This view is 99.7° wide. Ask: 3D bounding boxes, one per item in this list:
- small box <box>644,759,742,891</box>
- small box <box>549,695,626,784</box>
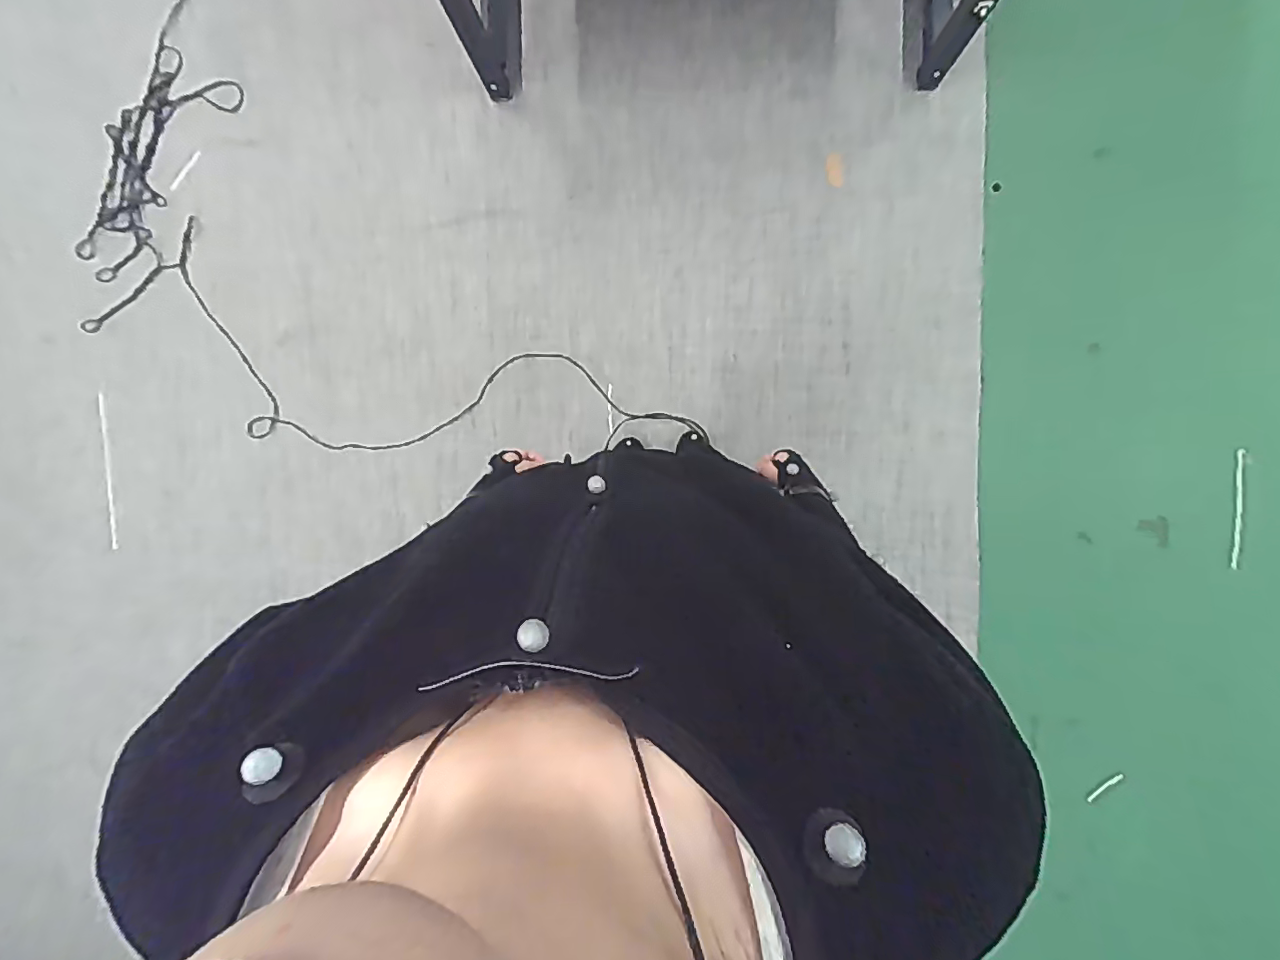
[{"bbox_3d":[0.106,0.684,1.090,0.179,0.176,0.168,-4,90,7],"label":"small box"},{"bbox_3d":[-0.135,0.690,1.444,0.179,0.176,0.168,-4,92,4],"label":"small box"}]
